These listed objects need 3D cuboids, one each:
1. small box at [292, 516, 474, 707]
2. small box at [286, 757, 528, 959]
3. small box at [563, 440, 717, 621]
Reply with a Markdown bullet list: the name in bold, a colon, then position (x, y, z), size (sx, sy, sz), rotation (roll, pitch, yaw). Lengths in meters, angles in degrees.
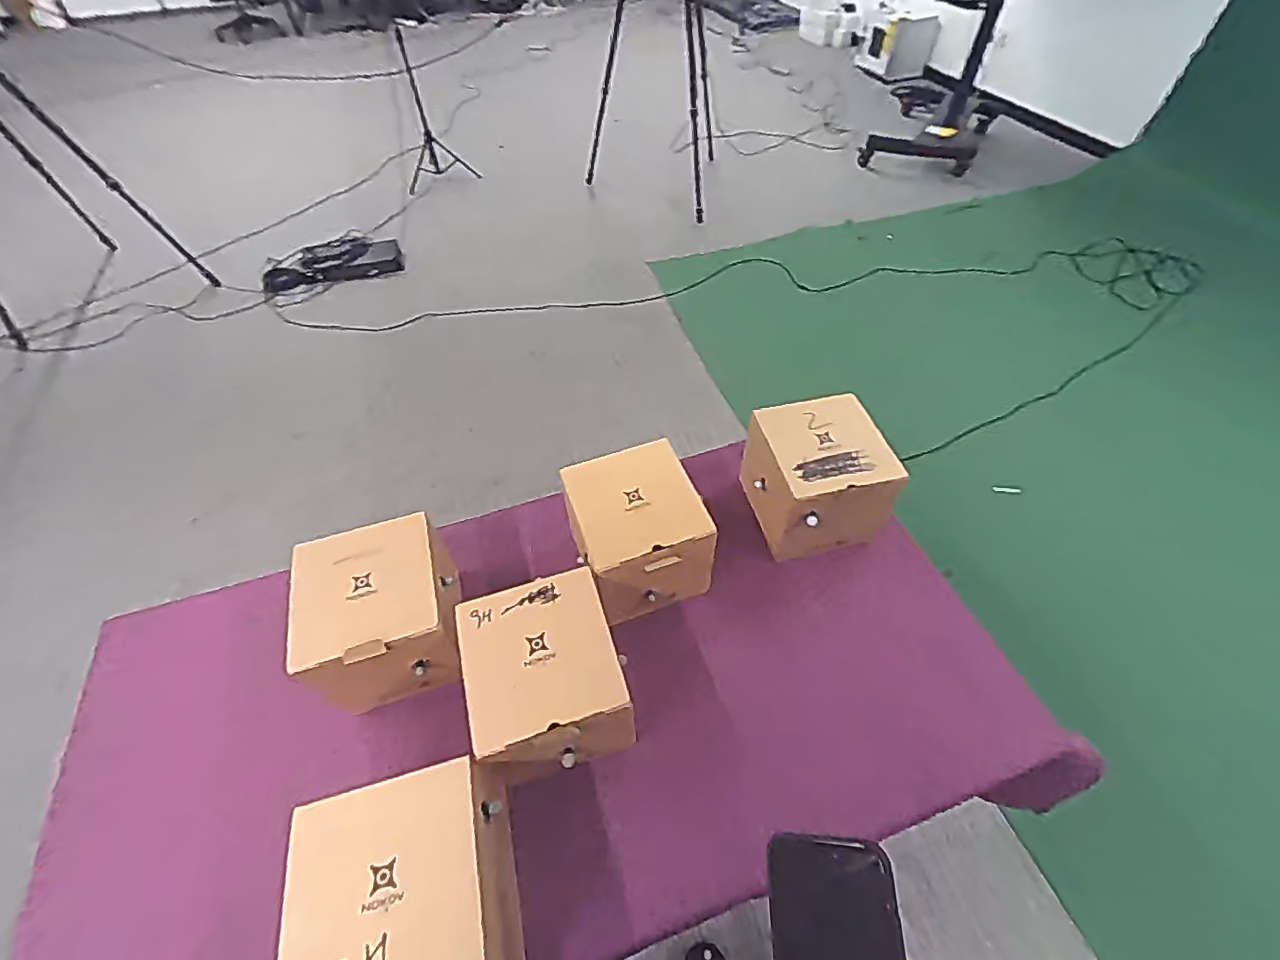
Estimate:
- **small box**: position (-0.330, 0.181, 0.718), size (0.168, 0.176, 0.179), rotation (-16, 53, -11)
- **small box**: position (-0.216, 0.406, 0.533), size (0.168, 0.176, 0.179), rotation (-14, 52, -8)
- **small box**: position (-0.004, 0.075, 0.788), size (0.168, 0.176, 0.179), rotation (-18, 55, -11)
